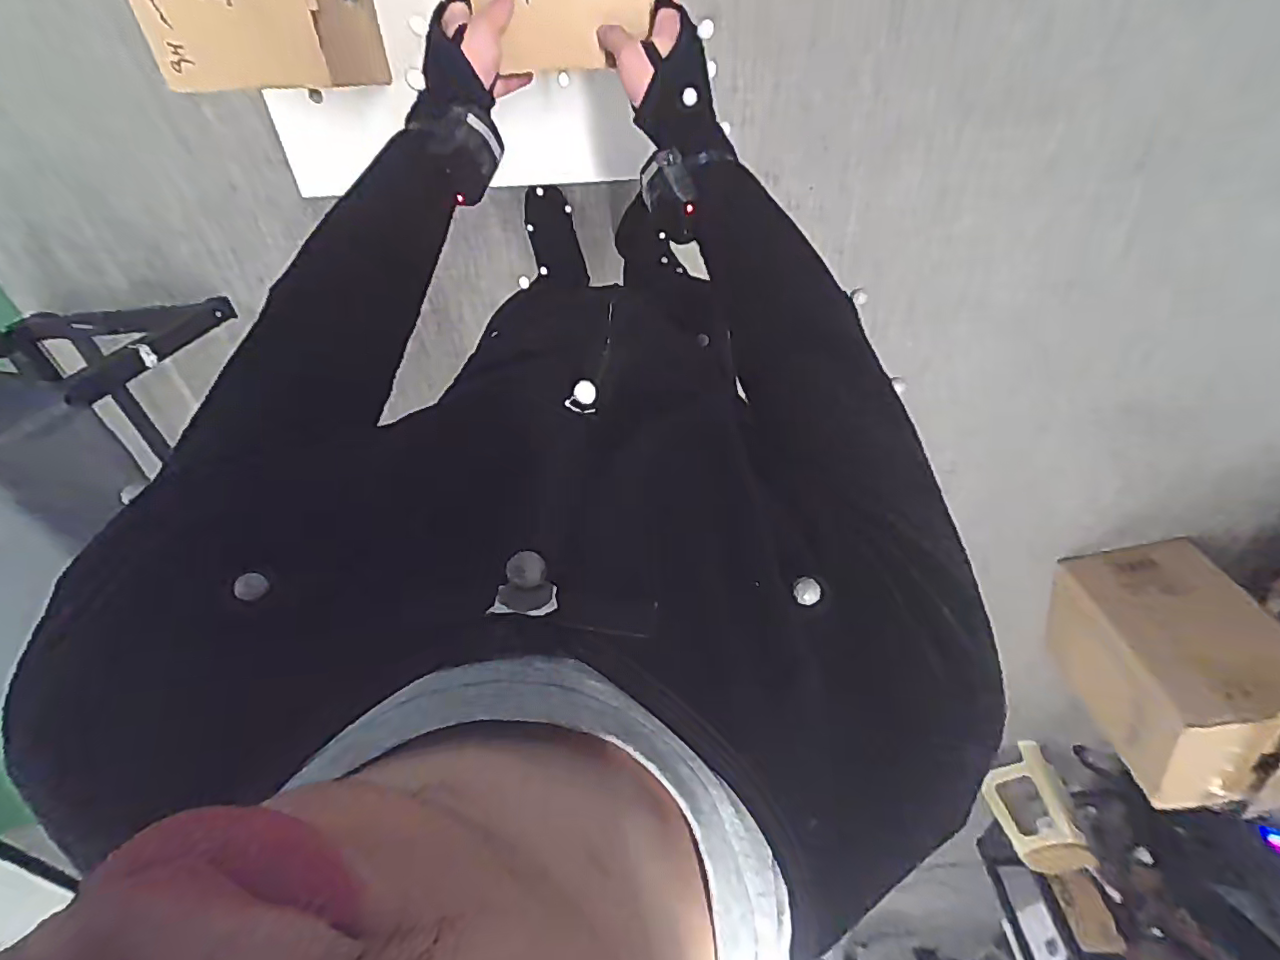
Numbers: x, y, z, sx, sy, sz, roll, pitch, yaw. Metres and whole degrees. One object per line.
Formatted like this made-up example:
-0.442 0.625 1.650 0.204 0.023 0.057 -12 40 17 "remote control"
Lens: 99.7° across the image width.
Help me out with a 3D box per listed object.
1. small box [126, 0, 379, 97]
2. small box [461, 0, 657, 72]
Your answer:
-0.401 -0.511 0.569 0.179 0.176 0.168 -2 127 1 "small box"
-0.073 -0.503 0.526 0.179 0.176 0.168 -2 129 2 "small box"
